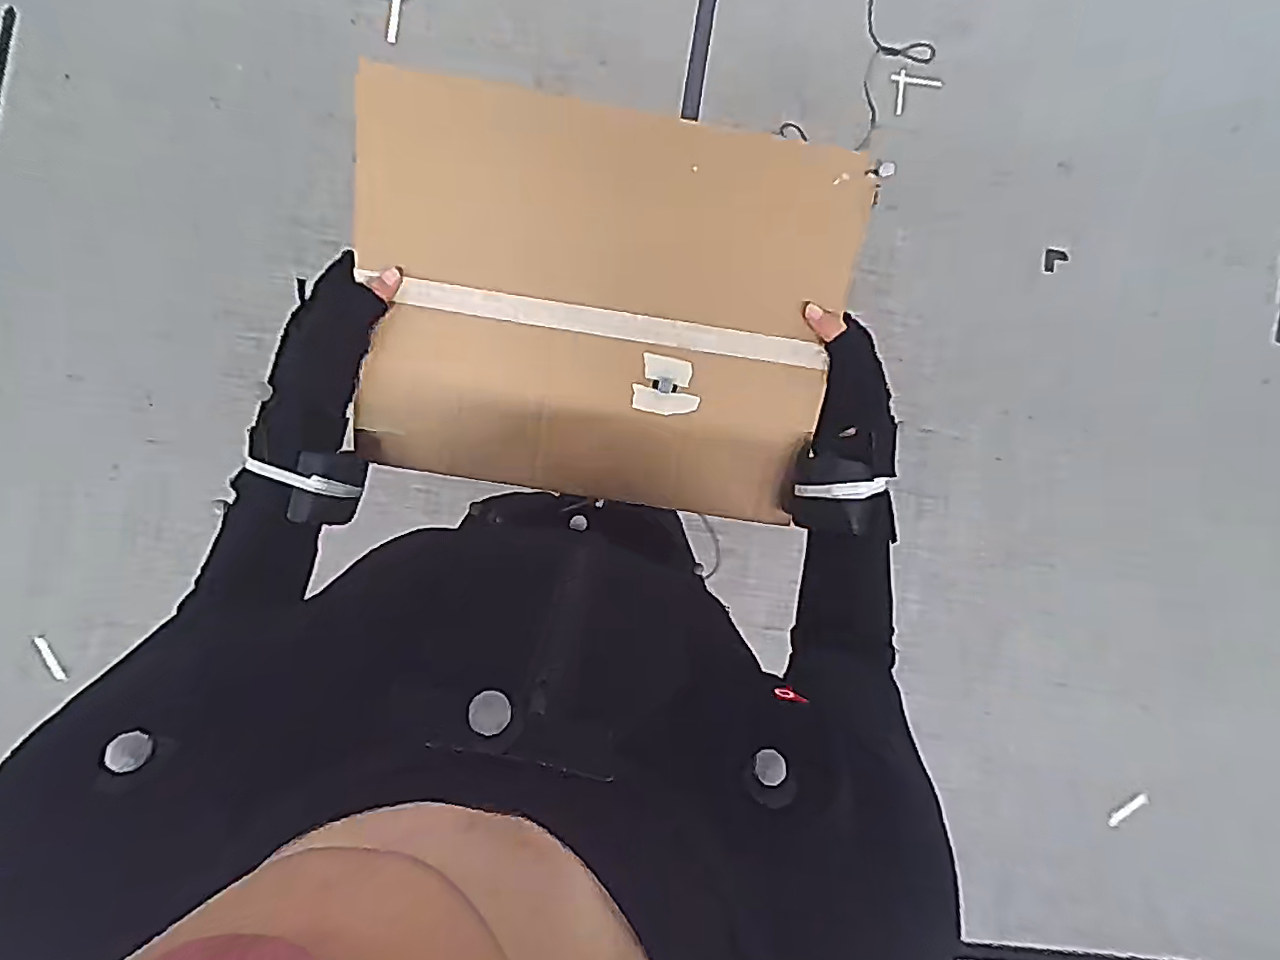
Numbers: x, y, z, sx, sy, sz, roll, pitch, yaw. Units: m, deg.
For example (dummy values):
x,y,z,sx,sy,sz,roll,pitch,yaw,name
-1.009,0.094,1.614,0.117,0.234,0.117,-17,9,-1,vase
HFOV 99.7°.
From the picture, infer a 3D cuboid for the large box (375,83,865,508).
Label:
x,y,z,sx,sy,sz,roll,pitch,yaw,name
-0.033,-0.185,0.619,0.408,0.320,0.320,9,107,-3,large box
